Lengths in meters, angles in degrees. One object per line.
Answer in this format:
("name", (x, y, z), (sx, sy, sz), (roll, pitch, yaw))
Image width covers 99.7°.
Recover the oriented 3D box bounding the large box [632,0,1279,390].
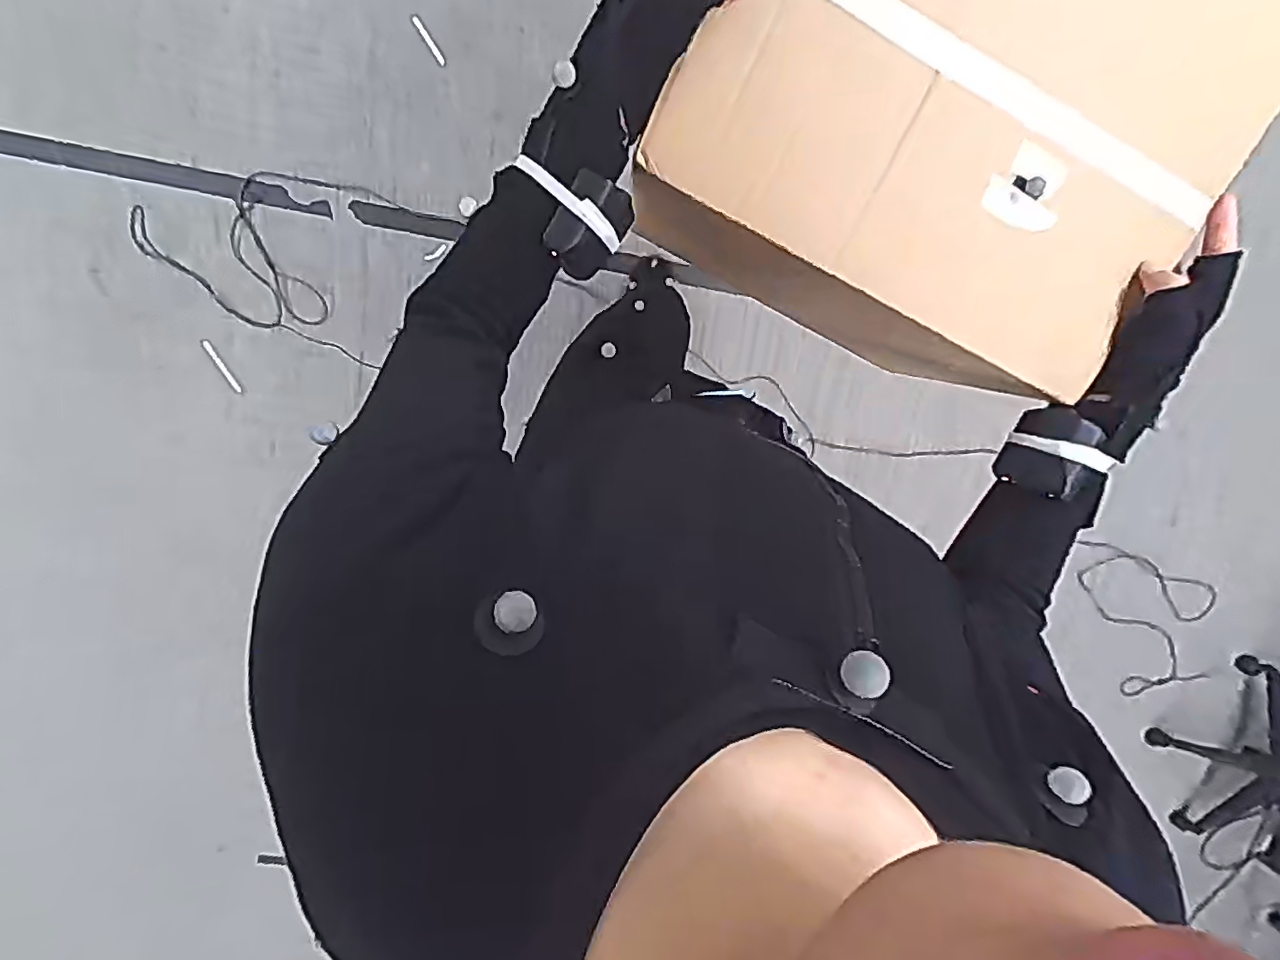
("large box", (0.236, -0.328, 0.538), (0.408, 0.320, 0.320), (25, 105, -9))
